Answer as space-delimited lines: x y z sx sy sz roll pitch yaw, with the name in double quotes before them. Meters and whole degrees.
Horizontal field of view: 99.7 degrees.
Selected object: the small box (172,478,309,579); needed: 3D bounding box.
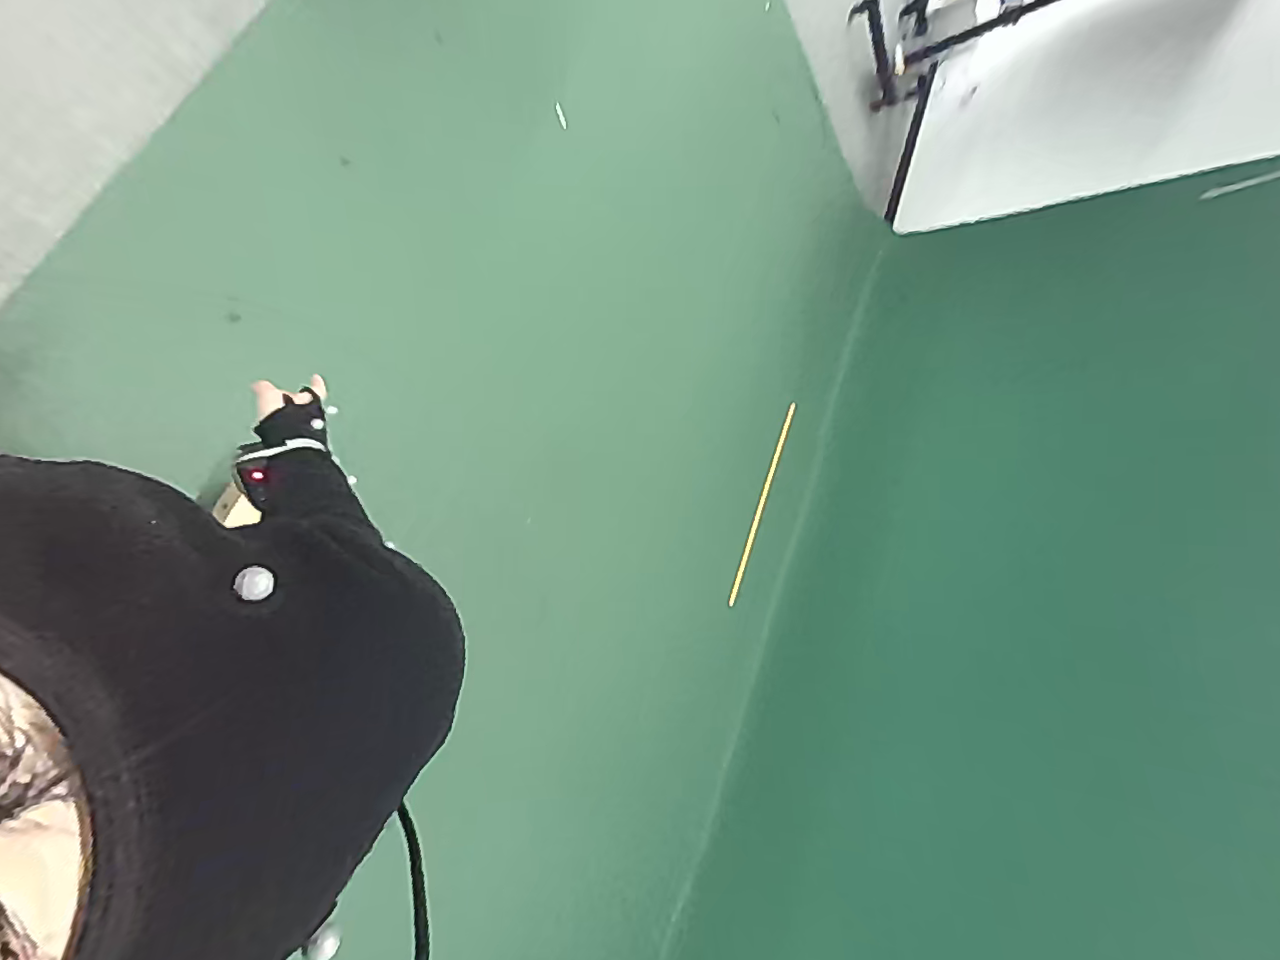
"small box" -0.899 0.105 1.214 0.179 0.176 0.168 41 65 -44
